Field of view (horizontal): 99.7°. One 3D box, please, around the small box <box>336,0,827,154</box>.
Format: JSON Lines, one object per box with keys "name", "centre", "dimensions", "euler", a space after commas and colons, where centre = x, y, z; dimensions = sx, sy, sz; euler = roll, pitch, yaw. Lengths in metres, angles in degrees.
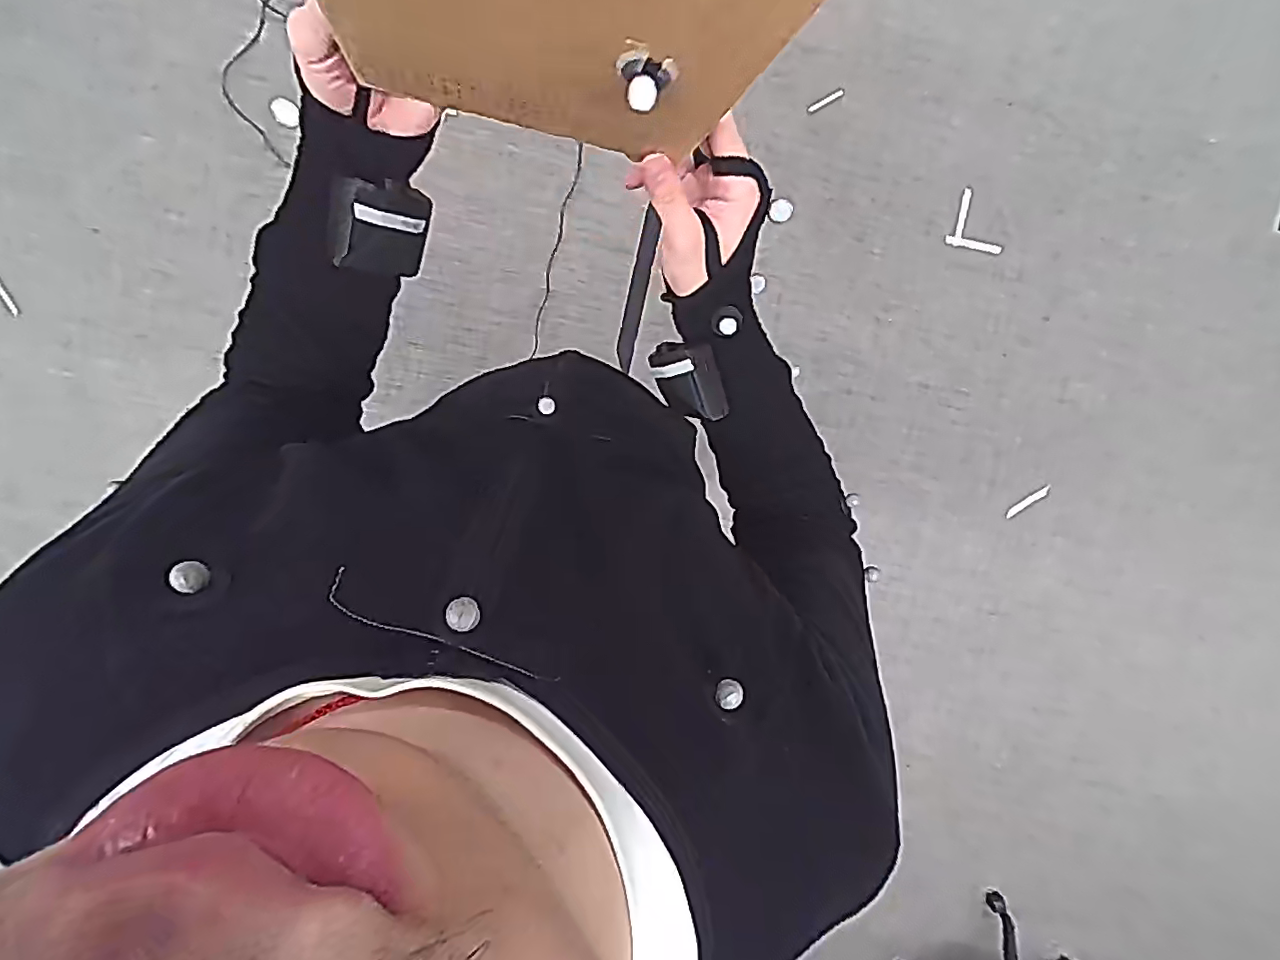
{"name": "small box", "centre": [-0.027, -0.260, 0.216], "dimensions": [0.179, 0.176, 0.168], "euler": [5, 100, -14]}
